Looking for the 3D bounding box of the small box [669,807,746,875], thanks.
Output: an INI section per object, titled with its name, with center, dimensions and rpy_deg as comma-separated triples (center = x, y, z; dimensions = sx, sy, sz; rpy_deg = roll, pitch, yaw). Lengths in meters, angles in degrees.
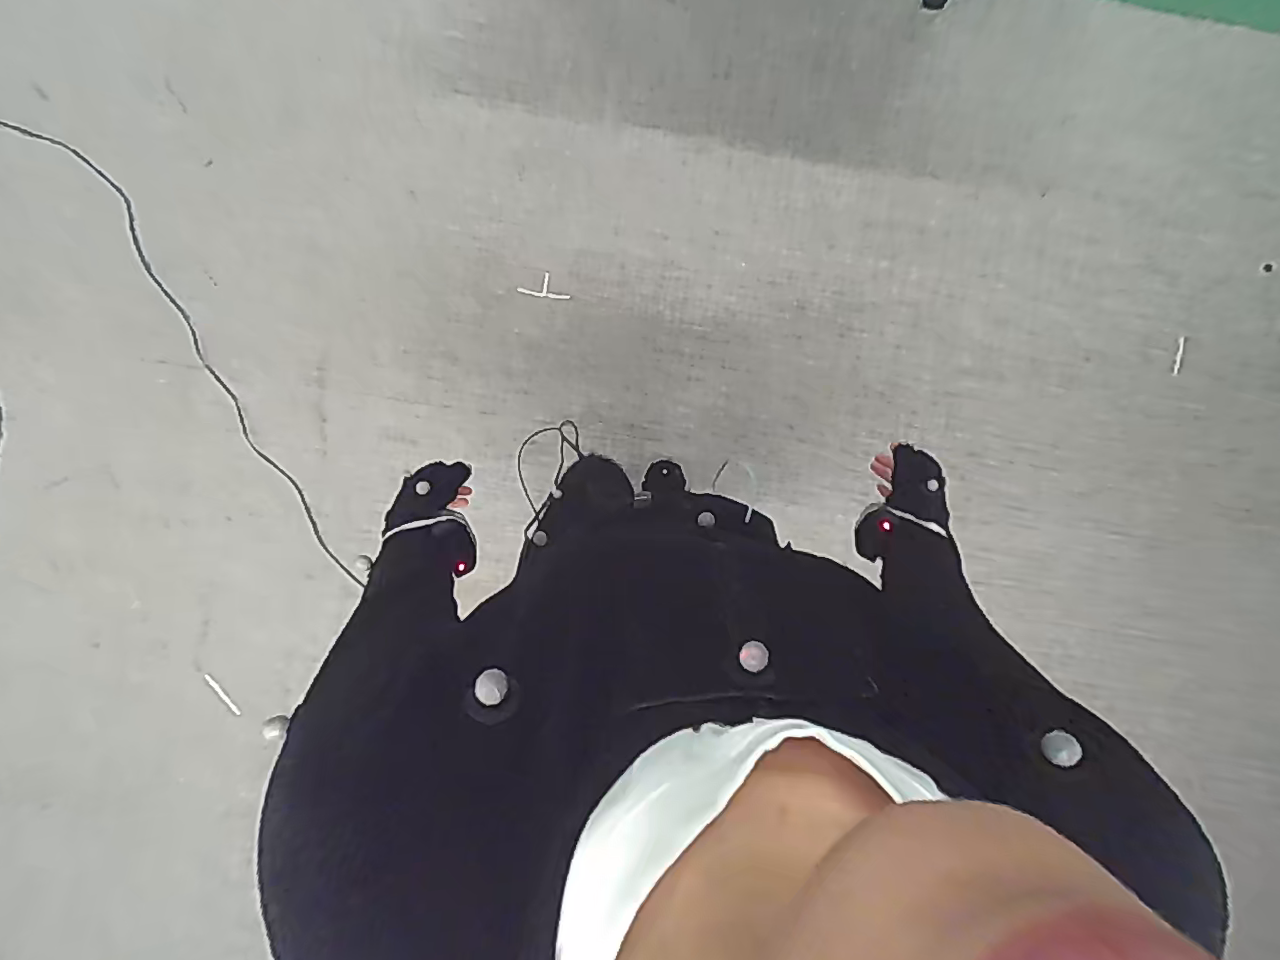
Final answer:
[small box]
center = 0.171, 0.999, 1.435
dimensions = 0.179, 0.176, 0.168
rpy_deg = 3, 93, -2
